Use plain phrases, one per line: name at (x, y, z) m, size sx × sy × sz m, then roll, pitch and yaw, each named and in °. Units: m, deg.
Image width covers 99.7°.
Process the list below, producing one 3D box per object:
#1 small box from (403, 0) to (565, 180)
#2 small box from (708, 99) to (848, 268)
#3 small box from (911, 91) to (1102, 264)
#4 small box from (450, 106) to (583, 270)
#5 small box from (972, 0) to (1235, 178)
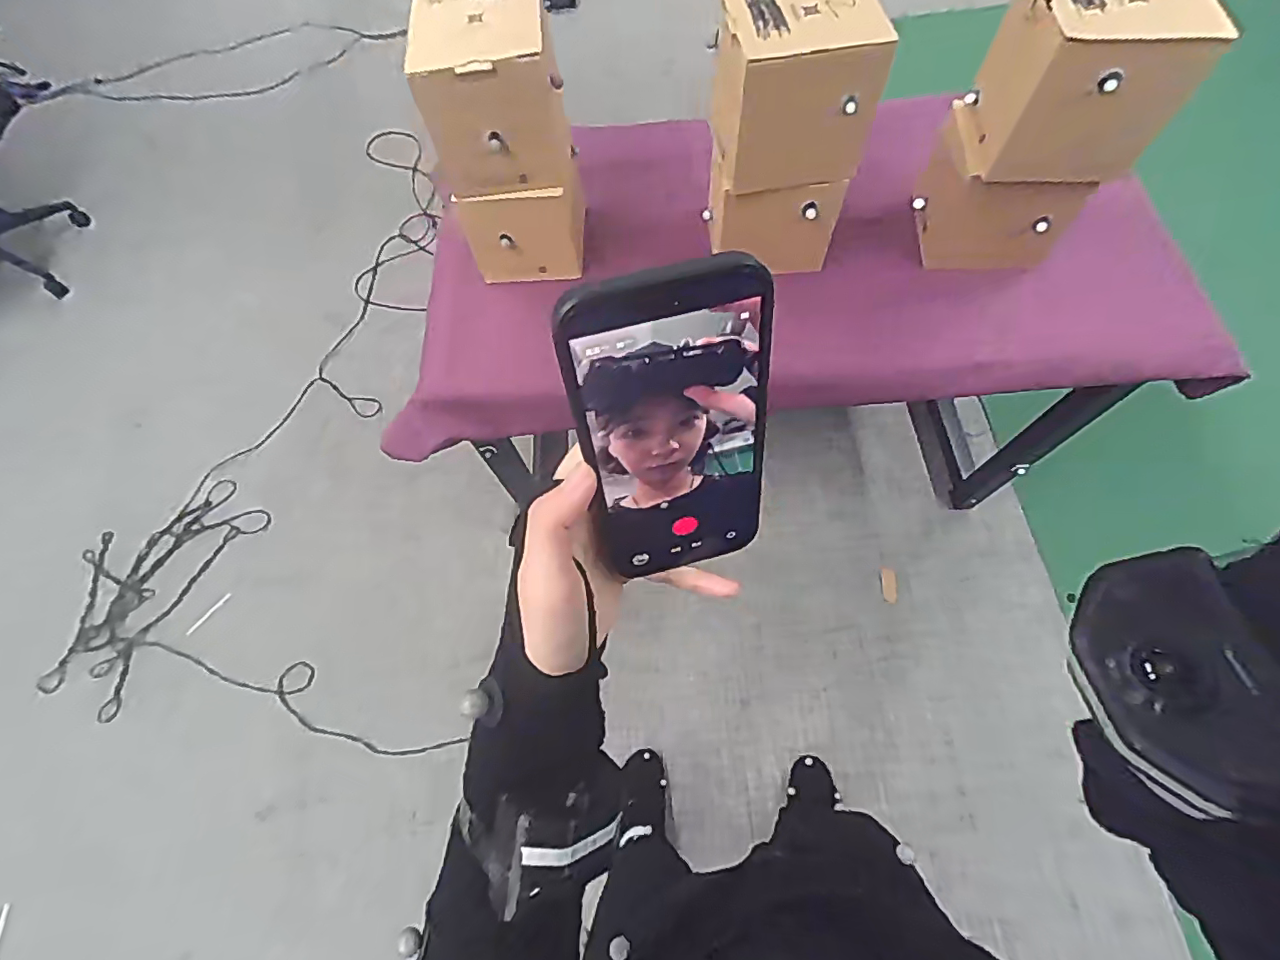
small box at (-0.197, -0.532, 0.728) m, size 0.168 × 0.176 × 0.179 m, roll -6°, pitch 67°, yaw 0°
small box at (0.203, -0.455, 0.847) m, size 0.179 × 0.176 × 0.168 m, roll -2°, pitch 67°, yaw 3°
small box at (0.542, -0.453, 0.826) m, size 0.179 × 0.176 × 0.168 m, roll 4°, pitch 67°, yaw 6°
small box at (-0.187, -0.461, 0.876) m, size 0.168 × 0.176 × 0.179 m, roll -1°, pitch 67°, yaw 3°
small box at (0.542, -0.503, 0.670) m, size 0.179 × 0.176 × 0.168 m, roll 4°, pitch 67°, yaw 5°
